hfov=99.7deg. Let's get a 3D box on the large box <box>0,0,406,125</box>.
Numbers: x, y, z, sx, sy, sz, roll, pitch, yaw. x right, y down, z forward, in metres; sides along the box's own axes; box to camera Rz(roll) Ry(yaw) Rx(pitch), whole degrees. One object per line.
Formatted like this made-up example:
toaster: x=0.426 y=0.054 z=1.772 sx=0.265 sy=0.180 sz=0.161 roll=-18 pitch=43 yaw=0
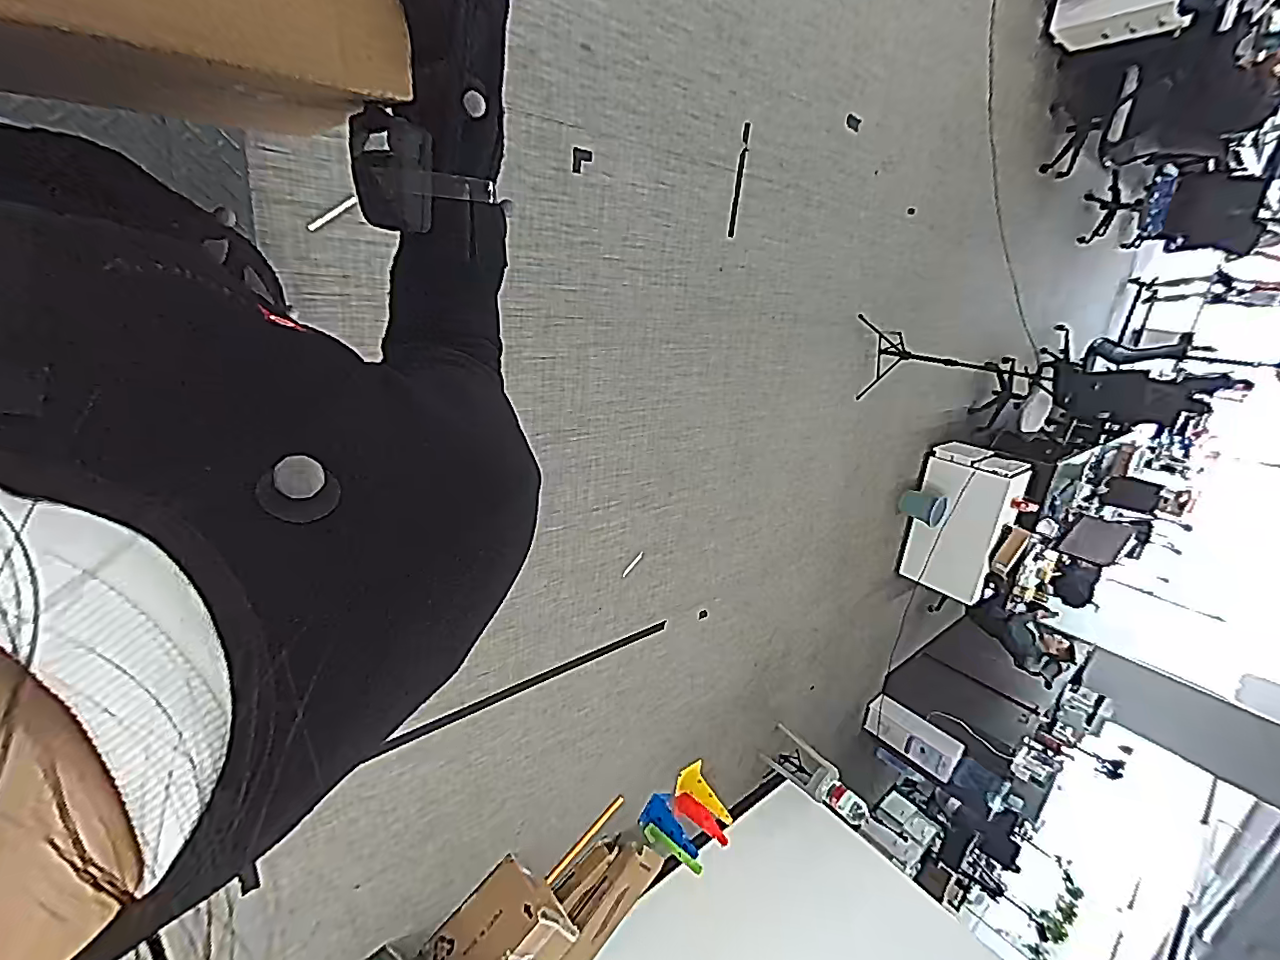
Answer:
large box: x=-0.375 y=-0.380 z=0.241 sx=0.408 sy=0.320 sz=0.320 roll=-15 pitch=123 yaw=-37
